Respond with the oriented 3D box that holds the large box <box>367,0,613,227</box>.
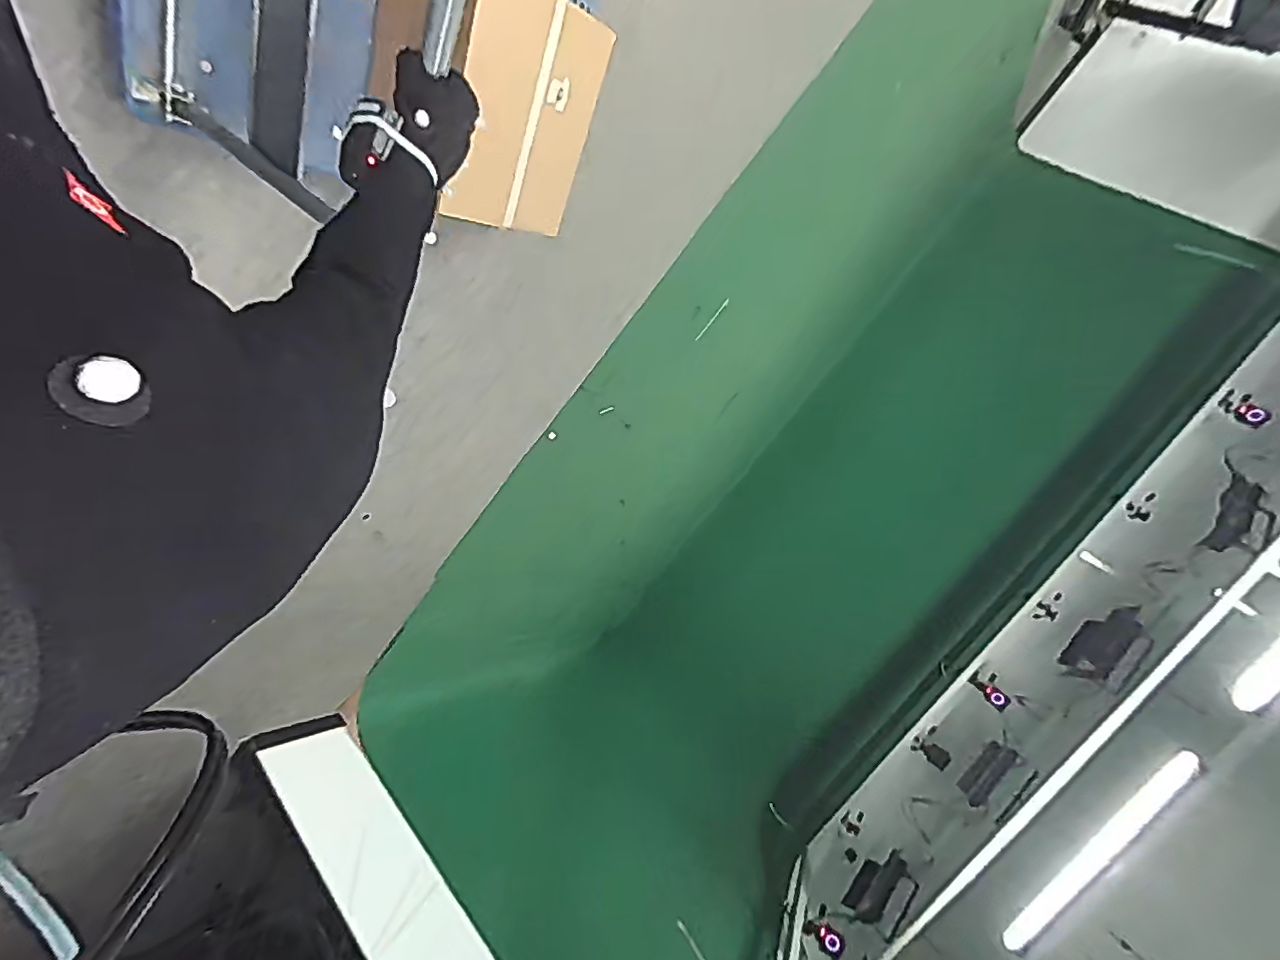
[{"bbox_3d":[-0.319,-0.793,1.099,0.320,0.320,0.408,-20,142,-50],"label":"large box"}]
